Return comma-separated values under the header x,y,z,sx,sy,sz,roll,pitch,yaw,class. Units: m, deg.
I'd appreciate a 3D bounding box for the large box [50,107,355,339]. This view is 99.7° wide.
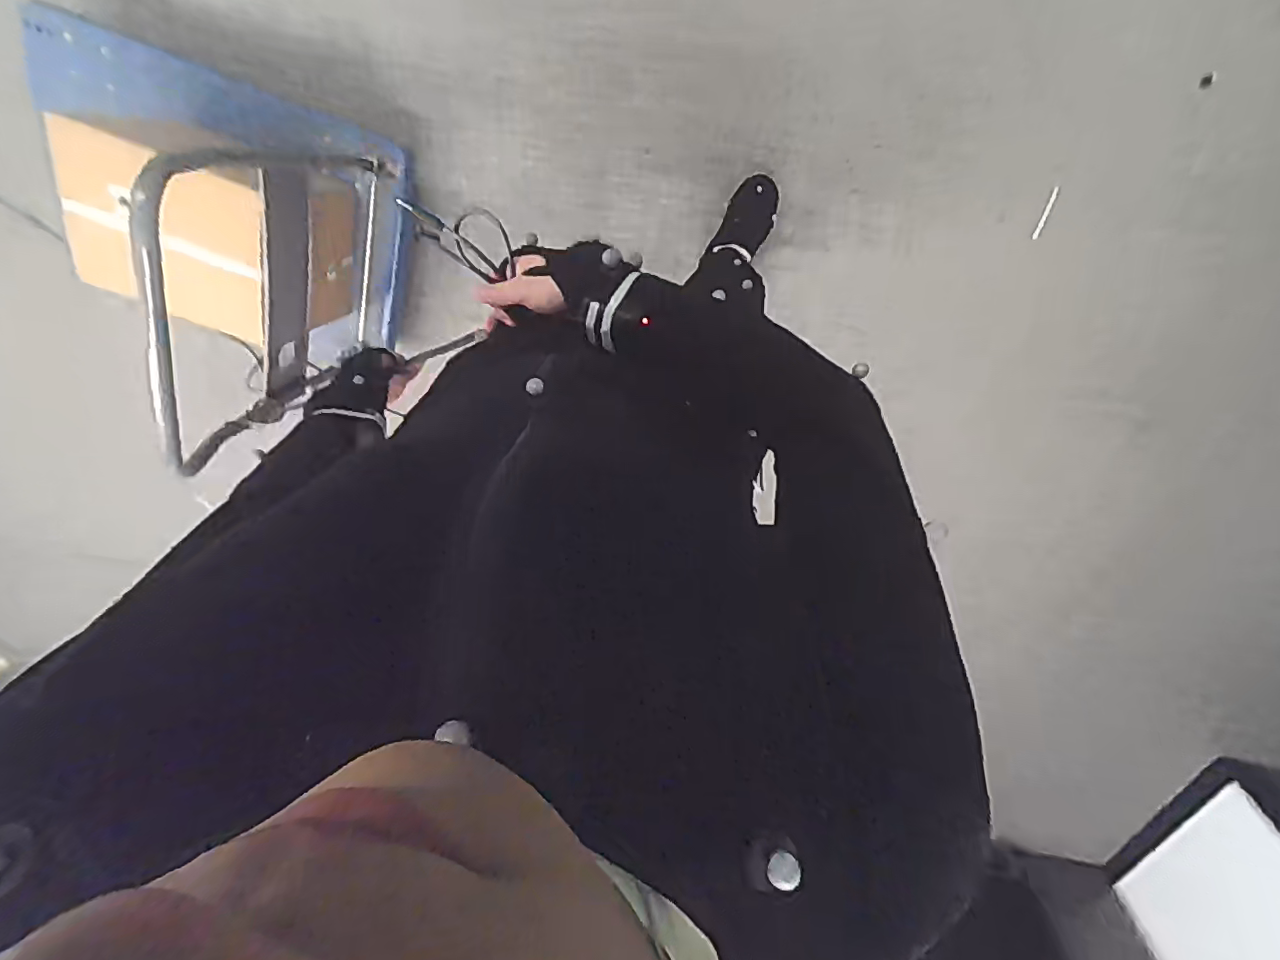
x,y,z,sx,sy,sz,roll,pitch,yaw,class
-0.904,-0.558,1.185,0.408,0.320,0.320,21,120,-3,large box
